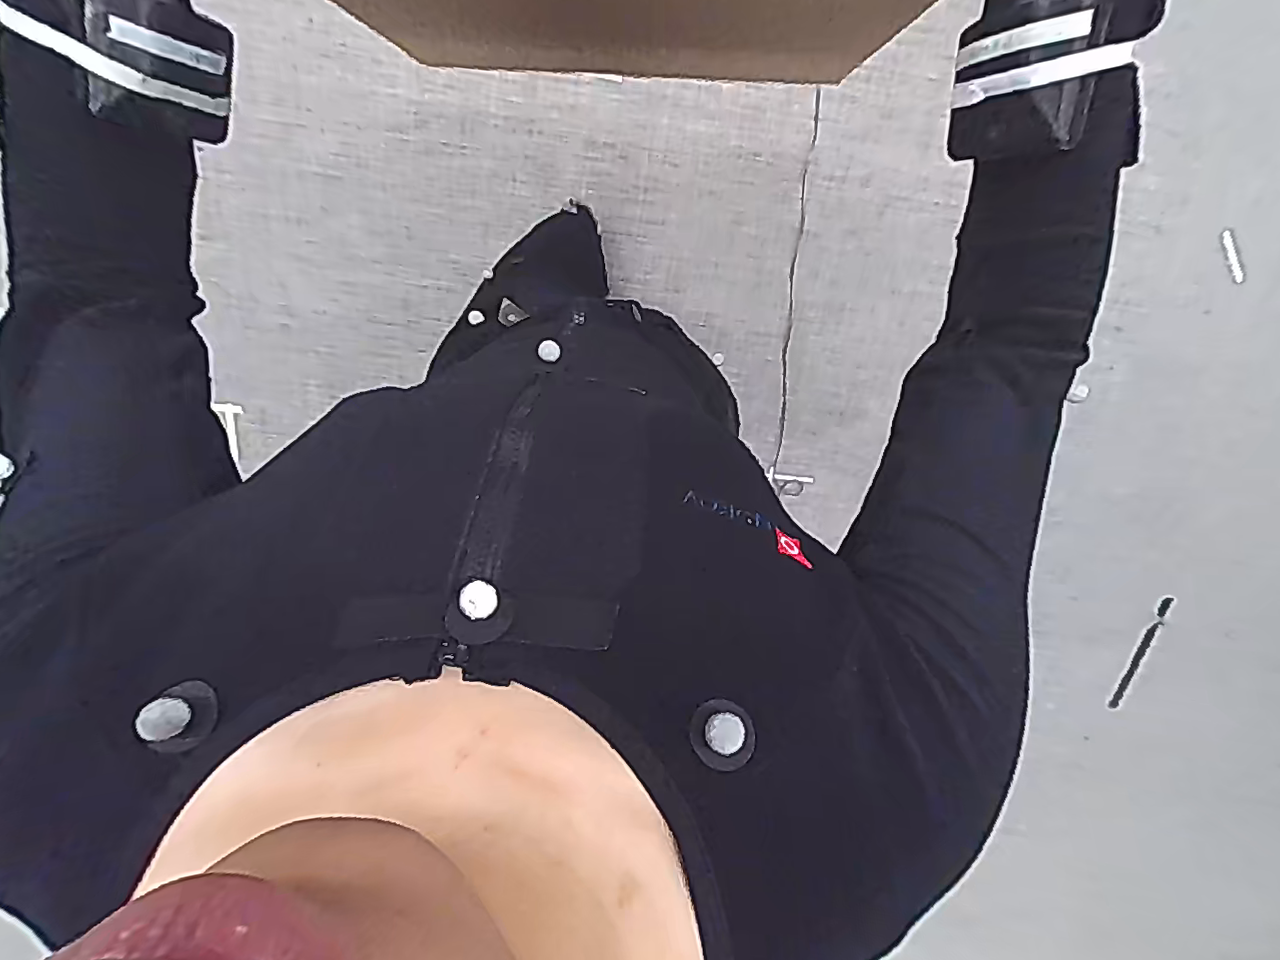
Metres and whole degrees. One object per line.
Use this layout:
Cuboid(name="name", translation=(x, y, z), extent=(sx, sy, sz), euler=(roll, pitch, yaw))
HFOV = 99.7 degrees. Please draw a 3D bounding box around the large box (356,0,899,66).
Cuboid(name="large box", translation=(-0.011, -0.477, 0.322), extent=(0.408, 0.320, 0.320), euler=(2, 115, 1))
